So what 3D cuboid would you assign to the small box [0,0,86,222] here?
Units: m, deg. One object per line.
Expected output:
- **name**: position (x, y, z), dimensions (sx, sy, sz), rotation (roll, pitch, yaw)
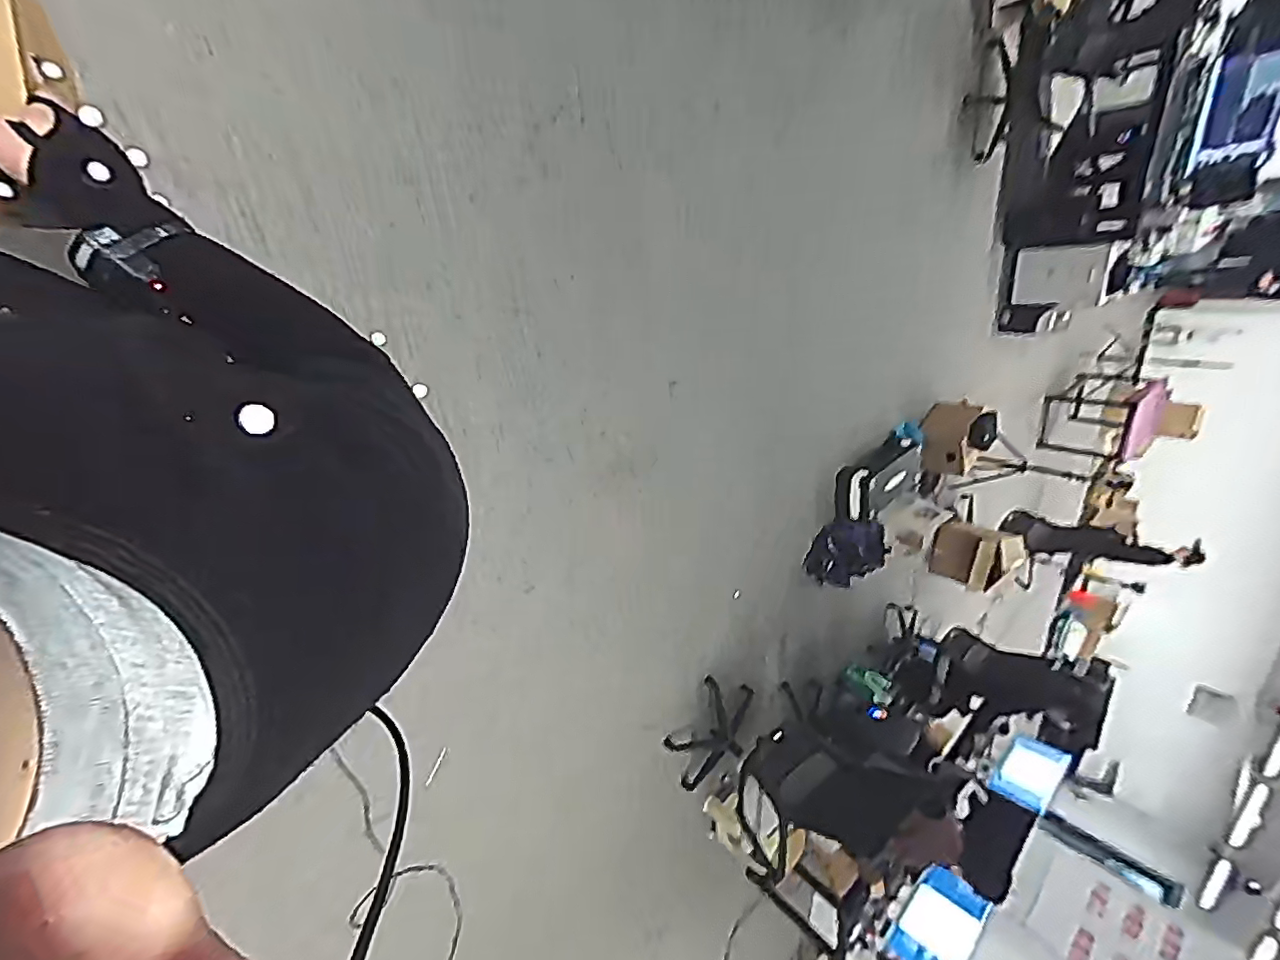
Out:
- **small box**: position (-0.619, -0.343, 0.455), dimensions (0.168, 0.176, 0.179), rotation (-12, 89, -31)
